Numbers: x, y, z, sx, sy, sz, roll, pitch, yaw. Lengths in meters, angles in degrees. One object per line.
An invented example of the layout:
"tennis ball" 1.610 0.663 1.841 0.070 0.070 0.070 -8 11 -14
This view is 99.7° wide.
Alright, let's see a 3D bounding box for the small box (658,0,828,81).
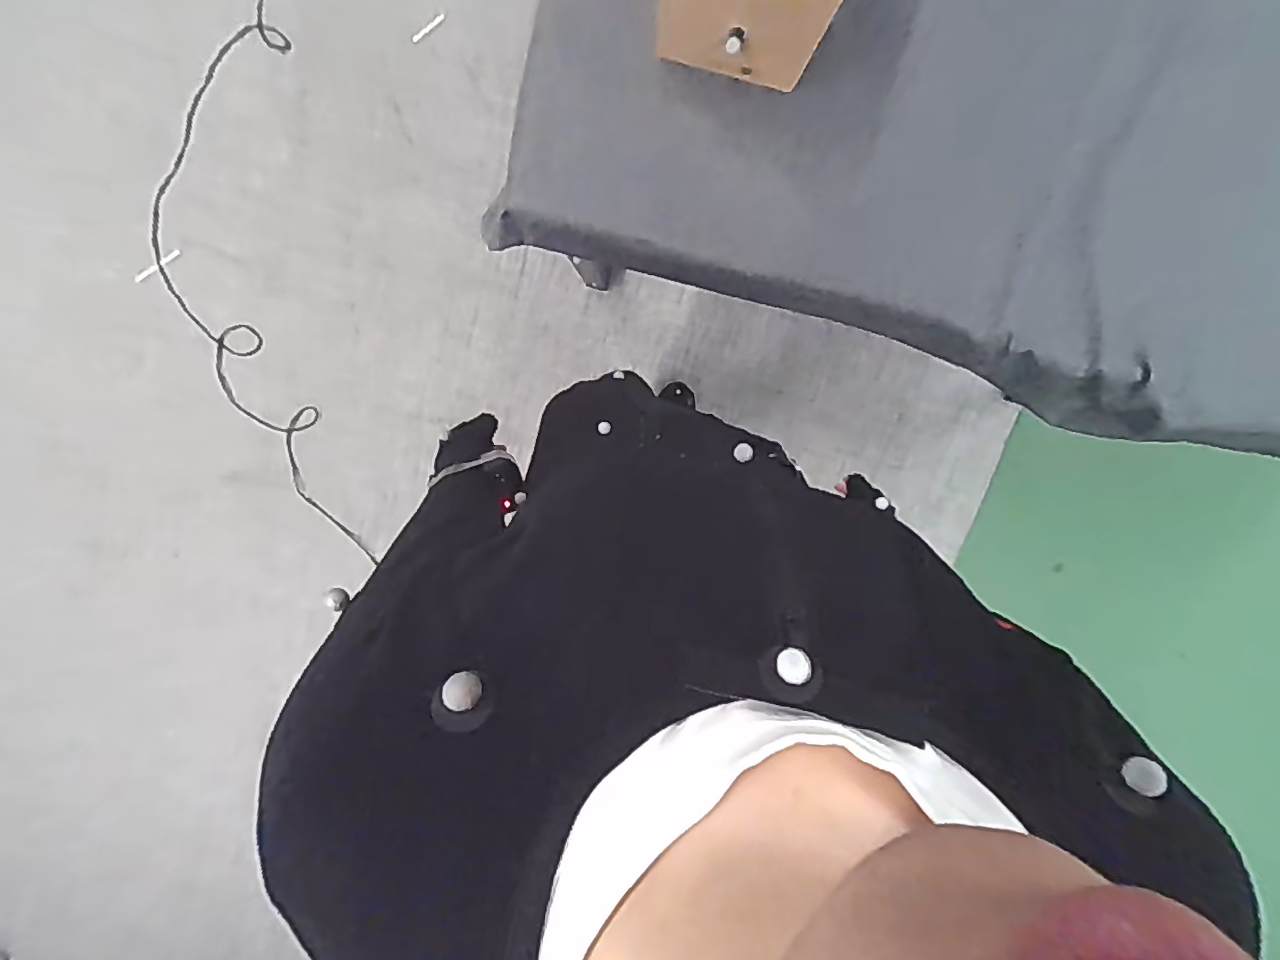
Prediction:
"small box" 0.115 -0.542 0.534 0.168 0.176 0.179 13 102 -2
